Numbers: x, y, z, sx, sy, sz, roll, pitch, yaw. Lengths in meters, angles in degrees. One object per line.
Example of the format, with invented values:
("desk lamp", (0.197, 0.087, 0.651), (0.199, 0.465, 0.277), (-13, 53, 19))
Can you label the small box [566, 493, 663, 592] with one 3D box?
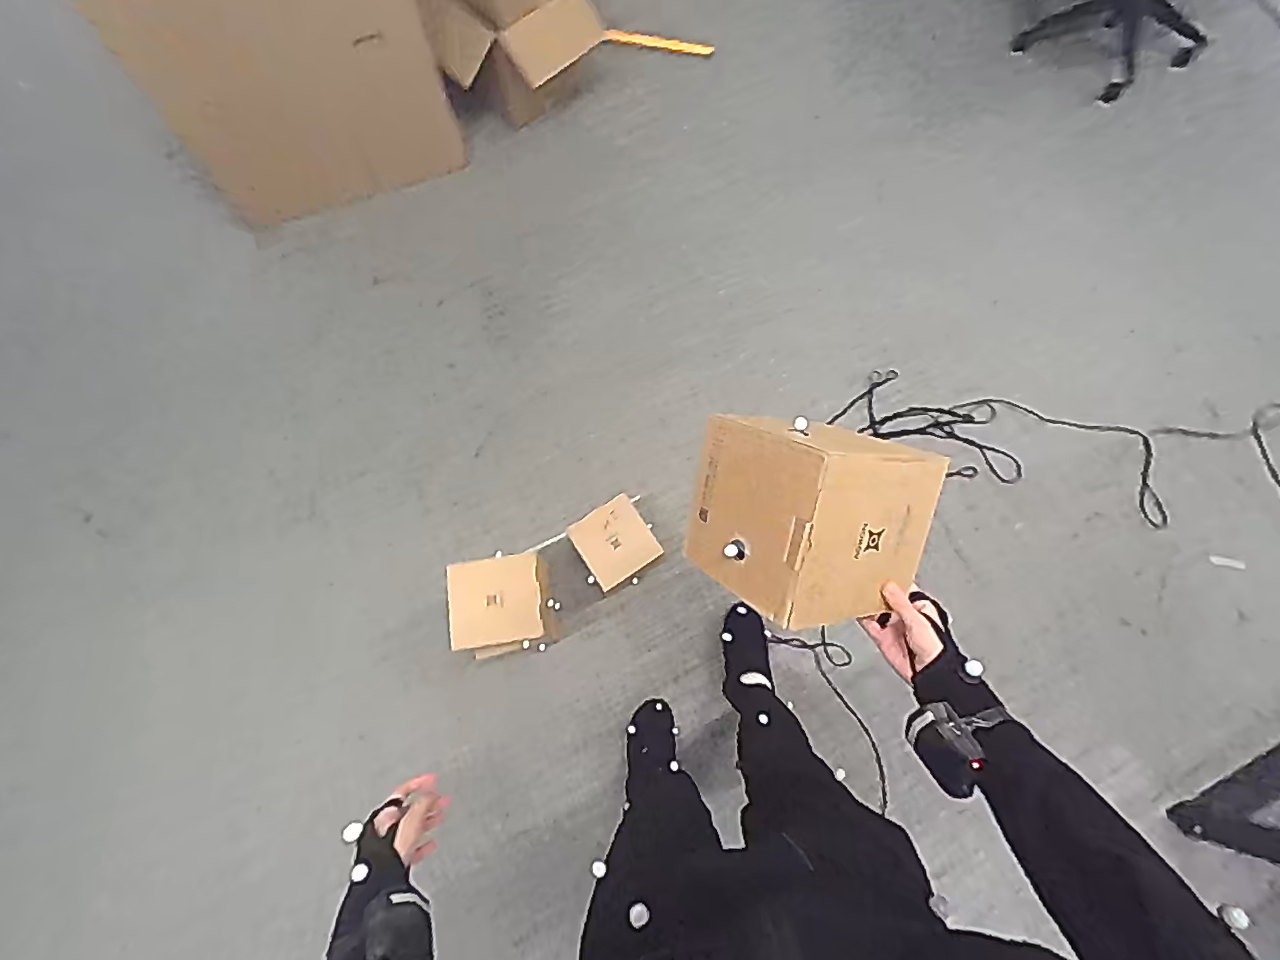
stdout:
("small box", (-0.059, 0.161, 1.320), (0.168, 0.176, 0.179), (-32, 76, -10))

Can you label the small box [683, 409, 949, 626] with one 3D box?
("small box", (0.167, 0.027, 0.554), (0.179, 0.176, 0.168), (1, 108, -33))

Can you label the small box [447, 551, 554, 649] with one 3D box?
("small box", (-0.283, 0.253, 1.120), (0.179, 0.176, 0.168), (-9, 73, -5))
